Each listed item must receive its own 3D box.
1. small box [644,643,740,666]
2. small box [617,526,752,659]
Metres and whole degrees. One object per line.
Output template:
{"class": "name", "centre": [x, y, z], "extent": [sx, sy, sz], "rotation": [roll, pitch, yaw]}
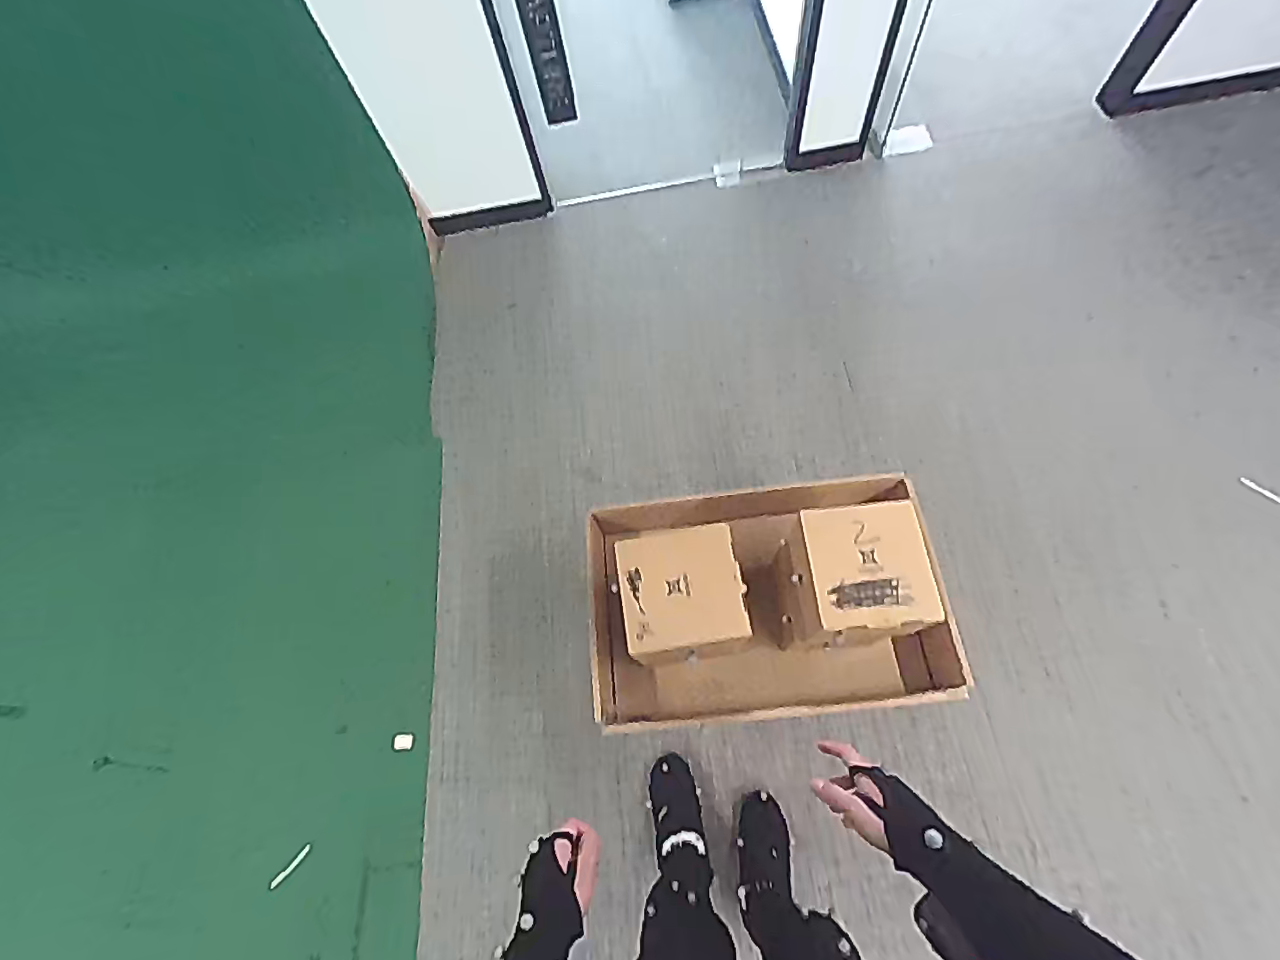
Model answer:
{"class": "small box", "centre": [0.081, 0.246, 1.001], "extent": [0.179, 0.176, 0.168], "rotation": [-7, 67, 2]}
{"class": "small box", "centre": [0.065, 0.183, 0.849], "extent": [0.179, 0.176, 0.168], "rotation": [-9, 67, 2]}
